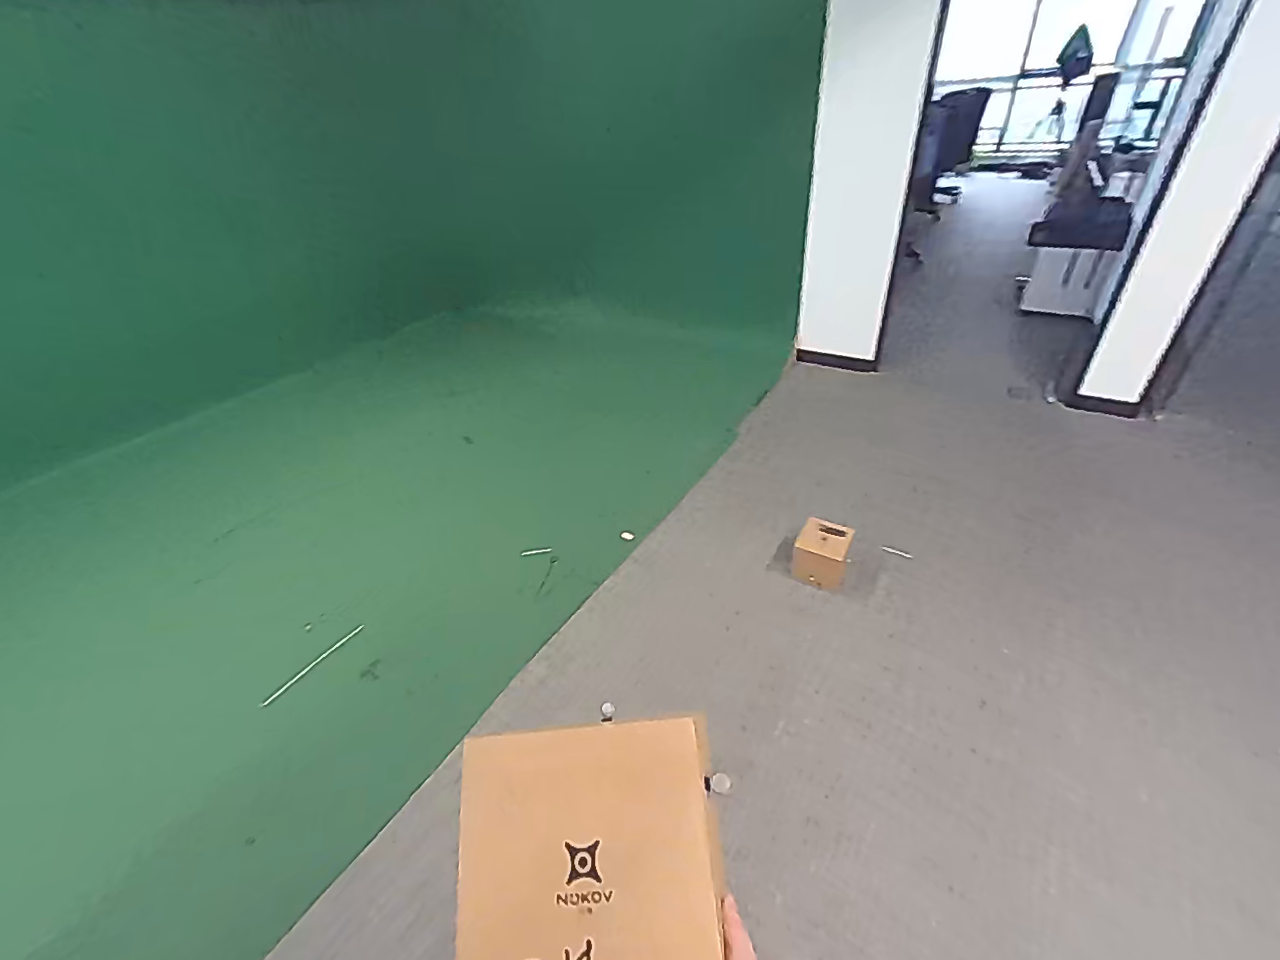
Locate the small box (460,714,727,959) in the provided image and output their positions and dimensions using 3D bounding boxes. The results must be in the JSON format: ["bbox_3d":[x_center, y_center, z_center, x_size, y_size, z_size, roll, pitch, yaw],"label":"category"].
[{"bbox_3d":[-0.024,0.284,0.424,0.168,0.176,0.179,-8,67,6],"label":"small box"}]
